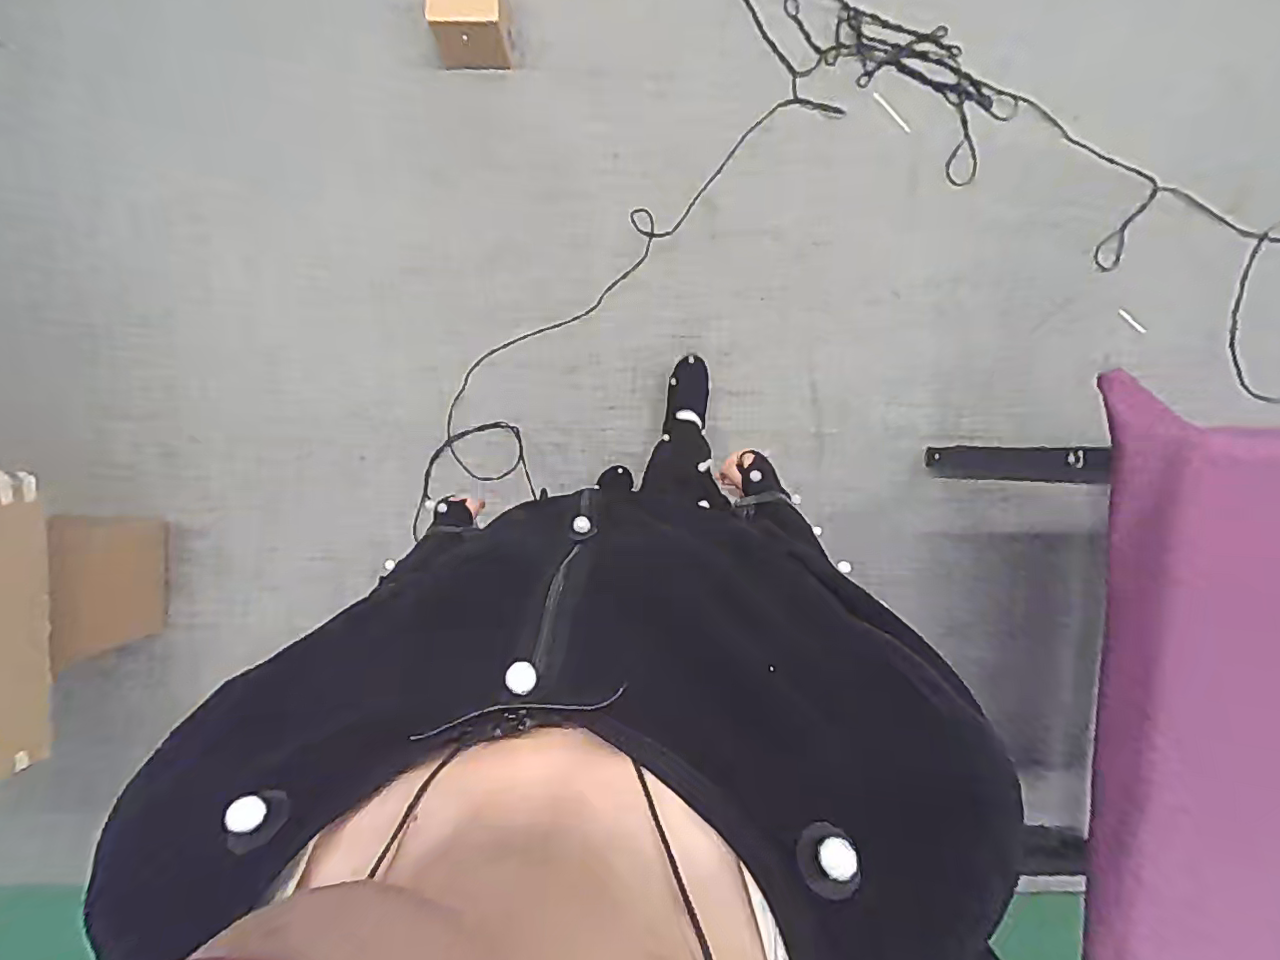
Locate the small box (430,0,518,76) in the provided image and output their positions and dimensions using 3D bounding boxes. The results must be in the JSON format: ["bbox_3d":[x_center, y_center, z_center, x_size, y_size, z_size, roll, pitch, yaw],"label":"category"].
[{"bbox_3d":[-0.414,-1.160,1.366,0.179,0.176,0.168,0,93,-1],"label":"small box"}]
